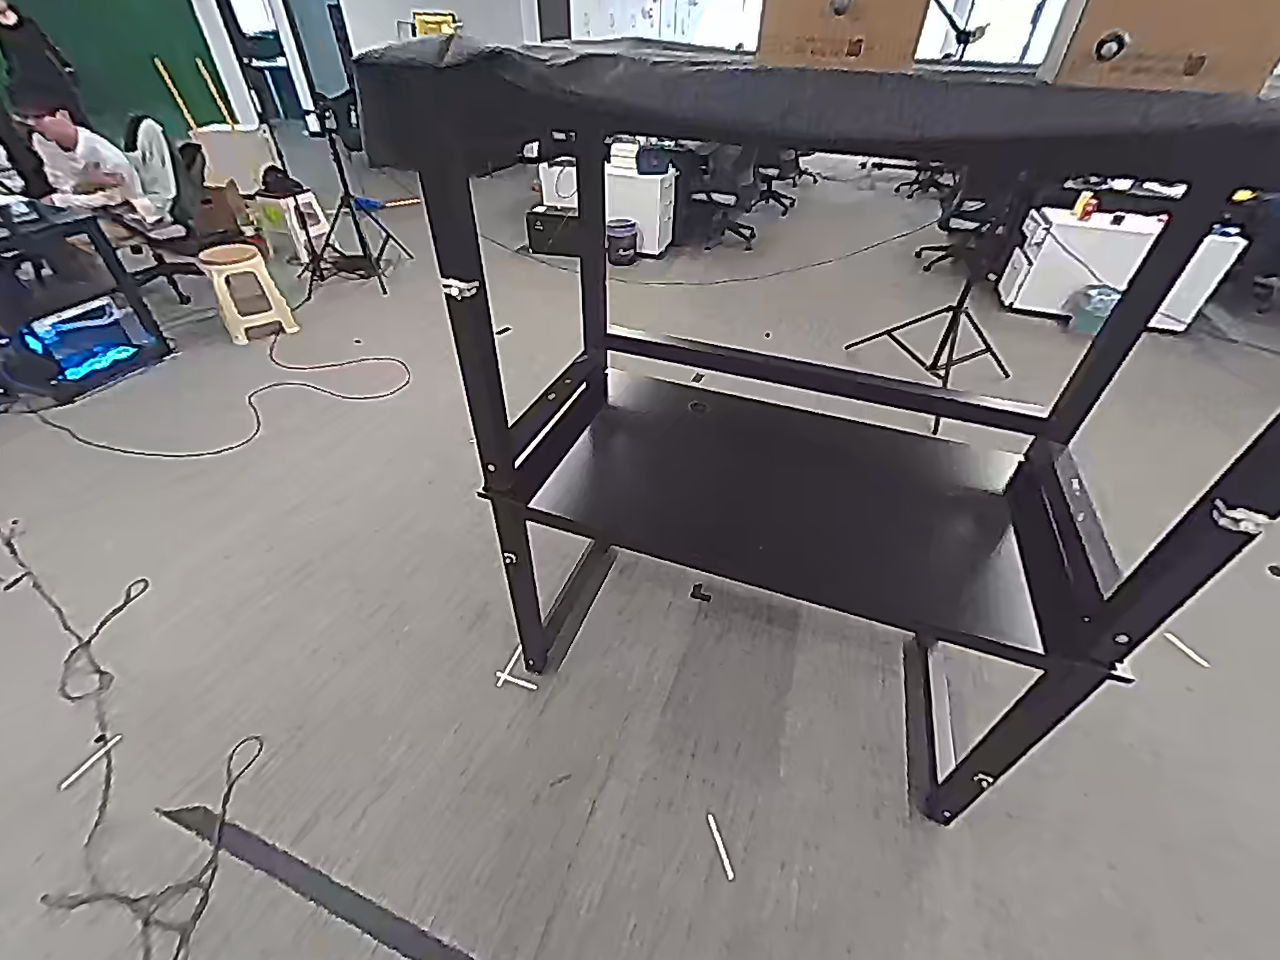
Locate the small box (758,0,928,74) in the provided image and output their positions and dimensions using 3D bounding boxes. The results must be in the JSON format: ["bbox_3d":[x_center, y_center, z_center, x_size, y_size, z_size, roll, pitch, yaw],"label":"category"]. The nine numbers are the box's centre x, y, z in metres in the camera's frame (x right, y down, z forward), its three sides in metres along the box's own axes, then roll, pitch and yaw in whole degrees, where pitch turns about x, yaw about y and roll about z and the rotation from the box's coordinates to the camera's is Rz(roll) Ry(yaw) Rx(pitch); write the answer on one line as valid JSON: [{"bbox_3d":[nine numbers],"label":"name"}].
[{"bbox_3d":[0.234,-0.554,0.588,0.168,0.176,0.179,15,39,15],"label":"small box"}]

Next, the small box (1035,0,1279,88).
[{"bbox_3d":[0.517,-0.484,0.519,0.168,0.176,0.179,17,40,17],"label":"small box"}]
